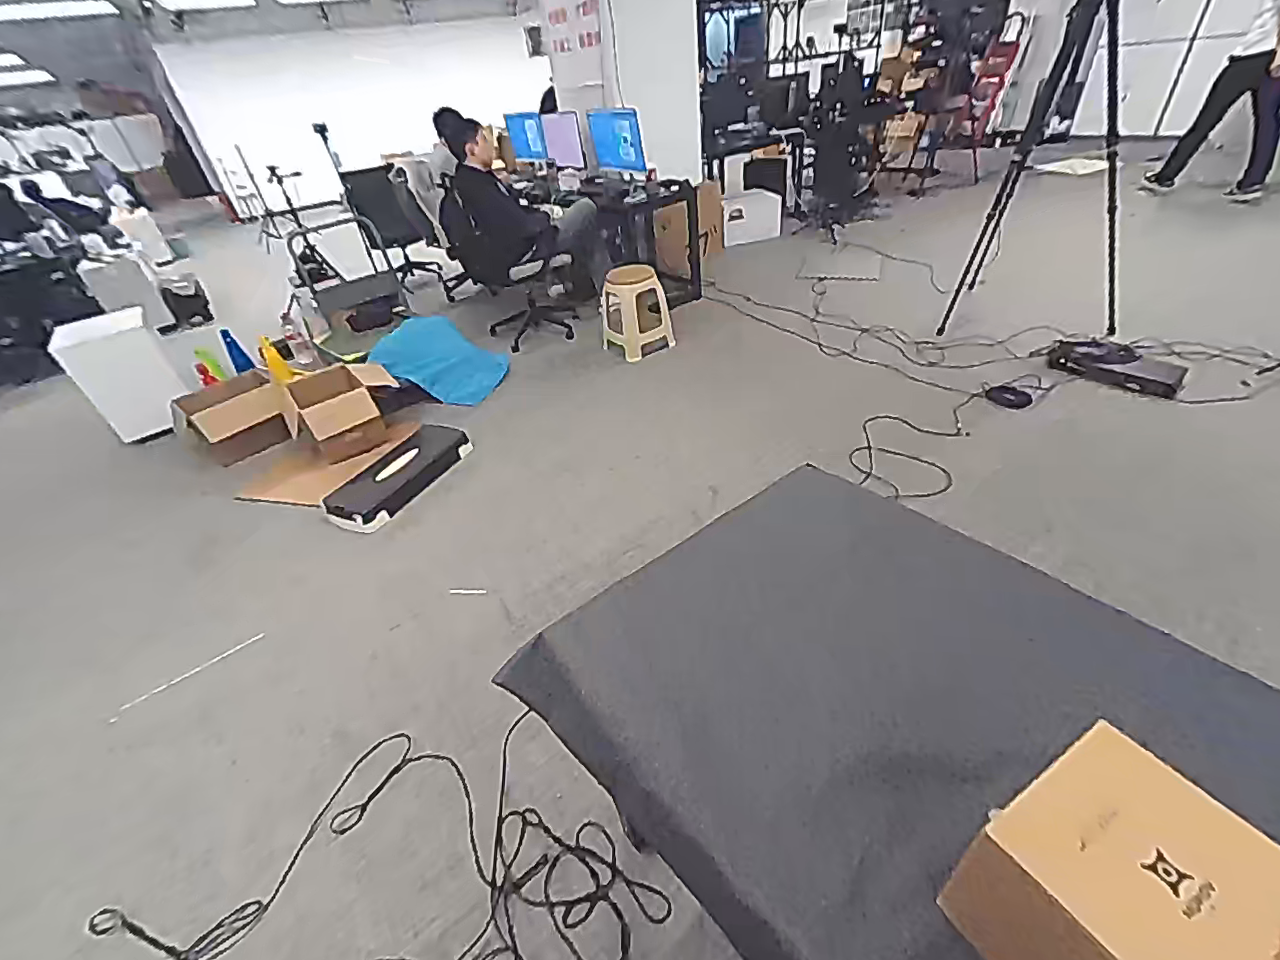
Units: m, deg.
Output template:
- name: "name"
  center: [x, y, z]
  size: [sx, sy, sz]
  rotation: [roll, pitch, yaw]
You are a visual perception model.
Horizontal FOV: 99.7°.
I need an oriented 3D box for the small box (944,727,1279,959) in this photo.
- name: "small box"
  center: [0.383, 0.346, 0.426]
  size: [0.168, 0.176, 0.179]
  rotation: [-22, 38, -21]
